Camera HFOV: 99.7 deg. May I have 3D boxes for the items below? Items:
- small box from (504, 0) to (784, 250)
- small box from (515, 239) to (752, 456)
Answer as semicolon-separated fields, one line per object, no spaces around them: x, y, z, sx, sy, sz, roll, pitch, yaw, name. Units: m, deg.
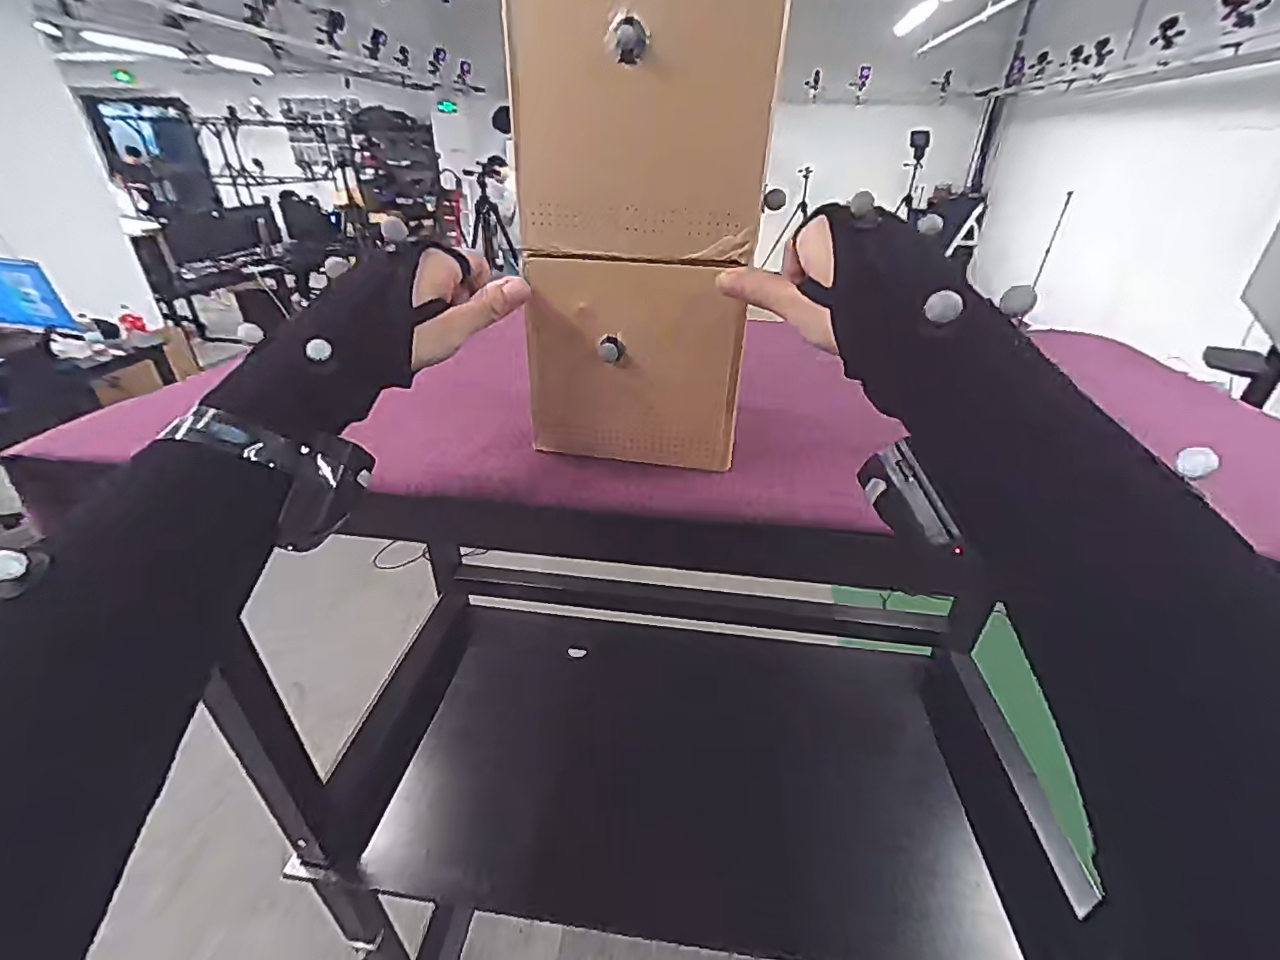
0.010;-0.274;0.413;0.179;0.176;0.168;8;31;10;small box
0.006;-0.133;0.495;0.179;0.176;0.168;6;30;10;small box
